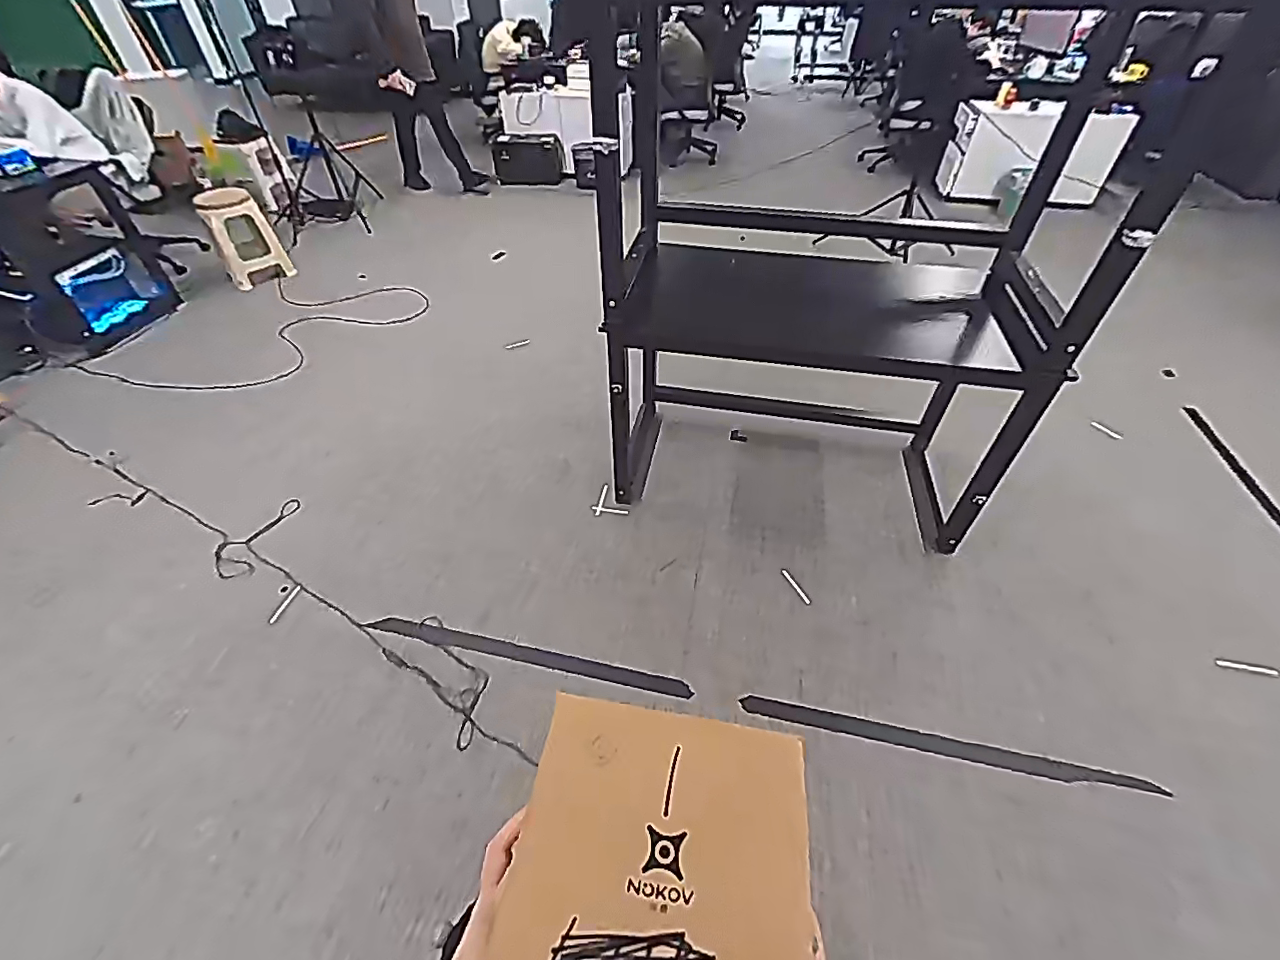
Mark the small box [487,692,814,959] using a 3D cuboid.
[{"bbox_3d":[0.011,0.272,0.355,0.168,0.176,0.179,8,44,5],"label":"small box"}]
